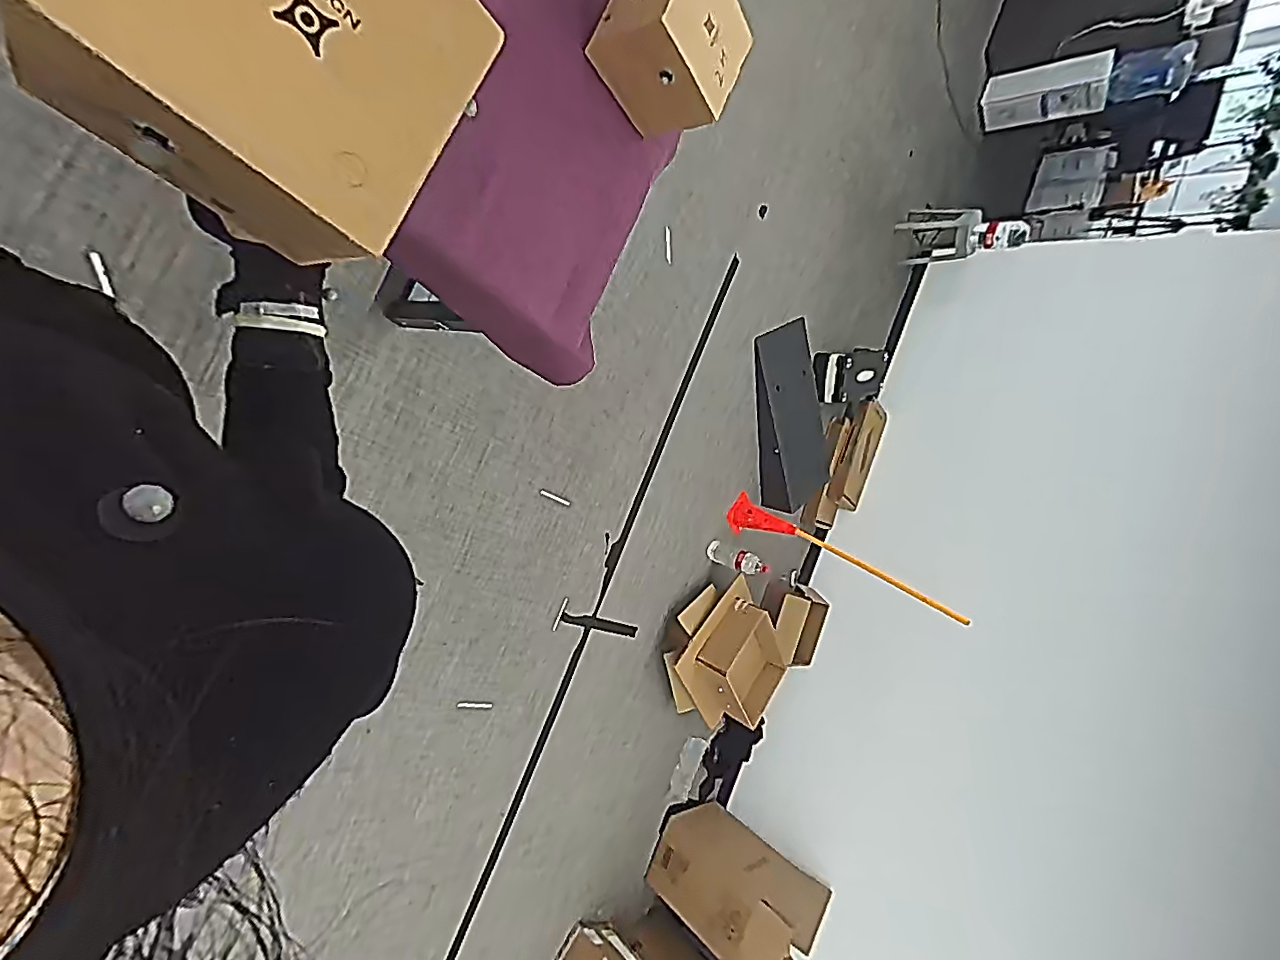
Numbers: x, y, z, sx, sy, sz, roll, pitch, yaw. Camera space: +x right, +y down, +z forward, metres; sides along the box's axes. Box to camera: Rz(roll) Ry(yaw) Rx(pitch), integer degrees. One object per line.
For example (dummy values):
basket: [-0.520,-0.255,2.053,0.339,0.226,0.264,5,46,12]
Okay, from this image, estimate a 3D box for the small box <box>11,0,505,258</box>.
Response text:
small box: [-0.225,-0.261,0.337,0.168,0.176,0.179,33,78,-48]

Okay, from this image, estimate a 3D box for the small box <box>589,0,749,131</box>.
small box: [0.046,-0.715,0.887,0.179,0.176,0.168,32,80,-49]
